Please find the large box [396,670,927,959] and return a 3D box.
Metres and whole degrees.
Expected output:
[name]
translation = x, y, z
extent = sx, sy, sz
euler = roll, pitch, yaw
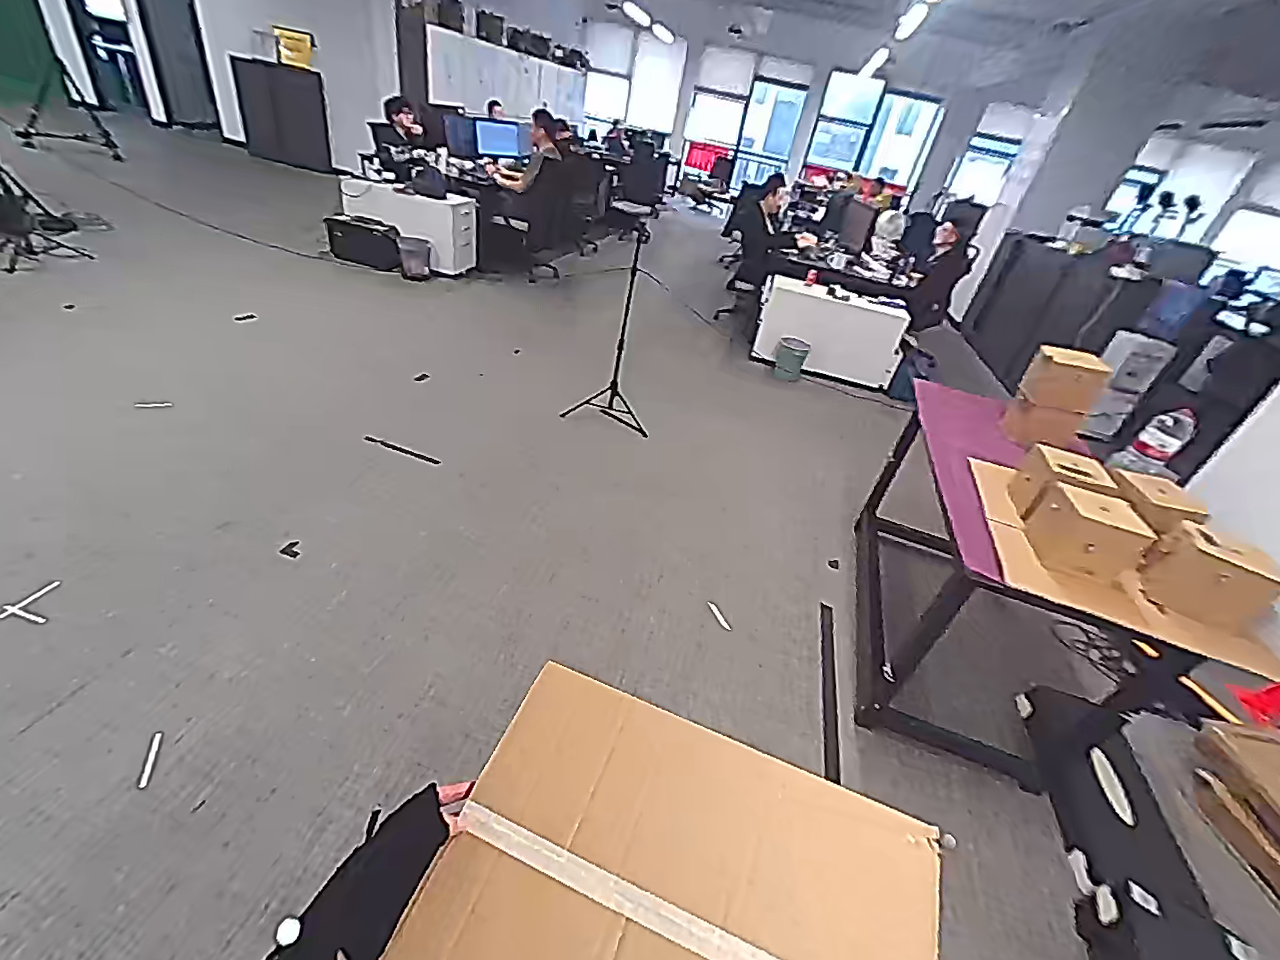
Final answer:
[large box]
translation = 0.022, 0.468, 0.559
extent = 0.408, 0.320, 0.320
euler = 19, 48, 13
